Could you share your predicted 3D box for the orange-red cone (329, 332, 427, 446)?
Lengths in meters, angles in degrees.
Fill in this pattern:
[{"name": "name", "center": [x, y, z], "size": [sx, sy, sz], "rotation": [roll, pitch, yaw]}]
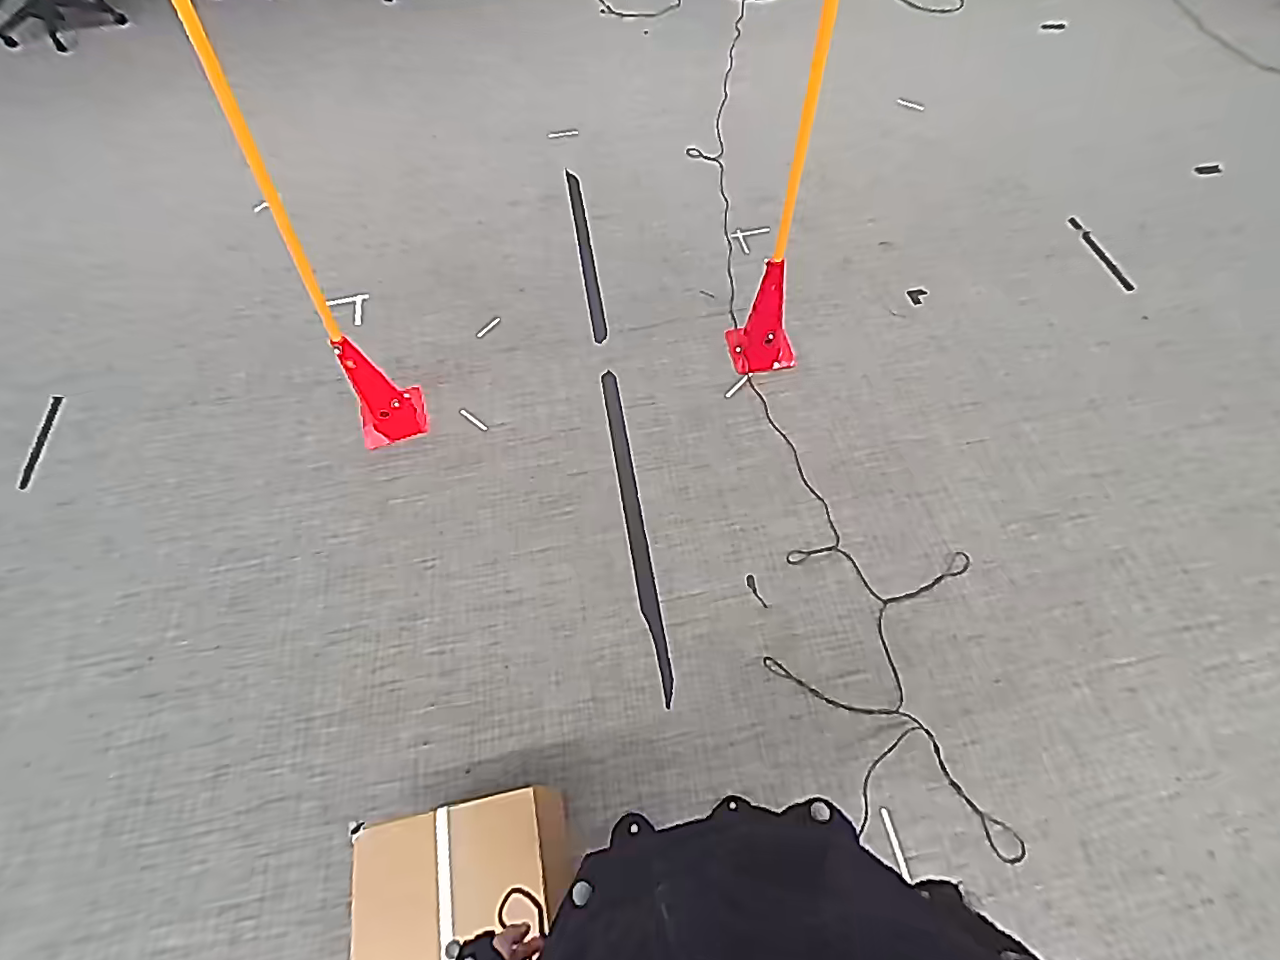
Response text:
[{"name": "orange-red cone", "center": [-0.792, -0.288, 1.571], "size": [0.199, 0.360, 0.198], "rotation": [-18, 61, -6]}]
